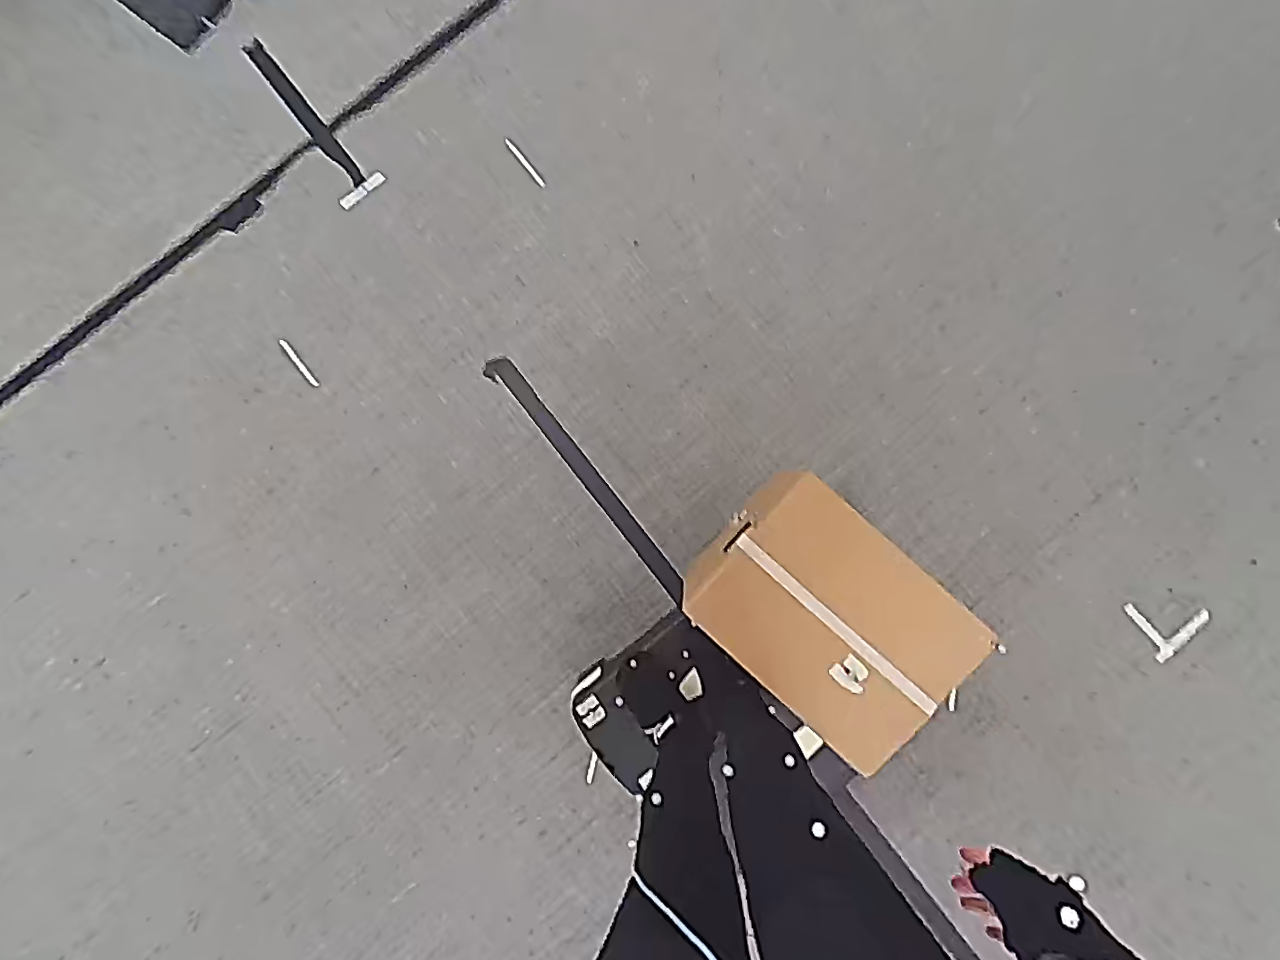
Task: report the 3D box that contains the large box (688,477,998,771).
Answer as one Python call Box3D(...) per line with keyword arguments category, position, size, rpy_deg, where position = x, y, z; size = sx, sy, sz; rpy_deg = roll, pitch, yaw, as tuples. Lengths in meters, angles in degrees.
Box3D(category="large box", position=(0.339, 0.233, 1.032), size=(0.408, 0.320, 0.320), rpy_deg=(41, 95, 3))
